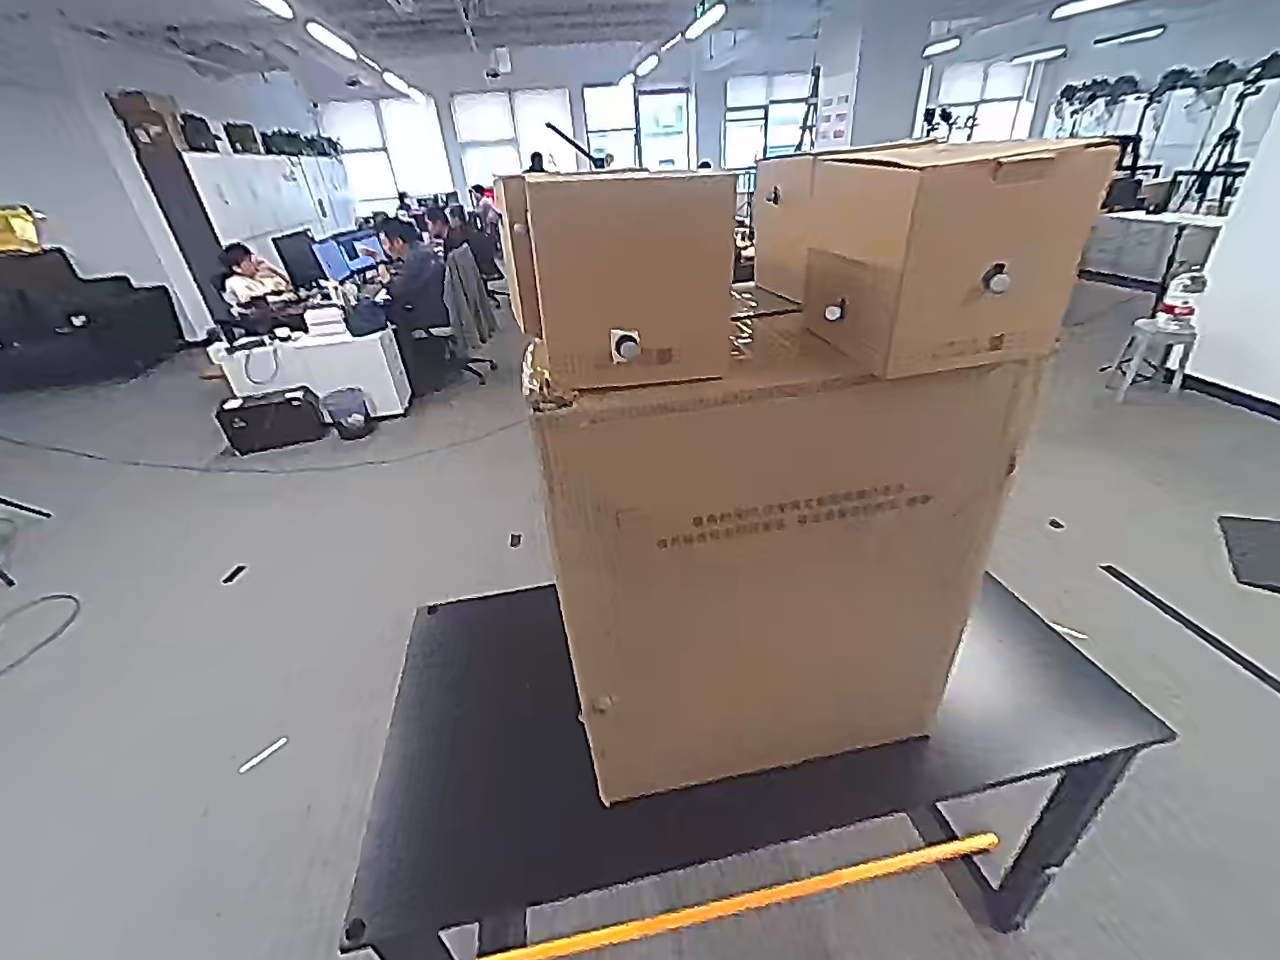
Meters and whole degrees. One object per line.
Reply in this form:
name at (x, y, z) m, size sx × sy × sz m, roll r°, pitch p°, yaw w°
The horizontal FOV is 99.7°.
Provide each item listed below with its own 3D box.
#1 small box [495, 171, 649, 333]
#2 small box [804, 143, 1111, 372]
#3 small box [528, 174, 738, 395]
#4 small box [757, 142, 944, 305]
small box at (-0.086, -0.292, 0.691) m, size 0.168 × 0.176 × 0.179 m, roll -11°, pitch 30°, yaw -13°
small box at (0.271, -0.210, 0.514) m, size 0.168 × 0.176 × 0.179 m, roll -9°, pitch 34°, yaw -6°
small box at (-0.015, -0.194, 0.521) m, size 0.168 × 0.176 × 0.179 m, roll -8°, pitch 32°, yaw -8°
small box at (0.260, -0.335, 0.716) m, size 0.168 × 0.176 × 0.179 m, roll -10°, pitch 29°, yaw -7°
